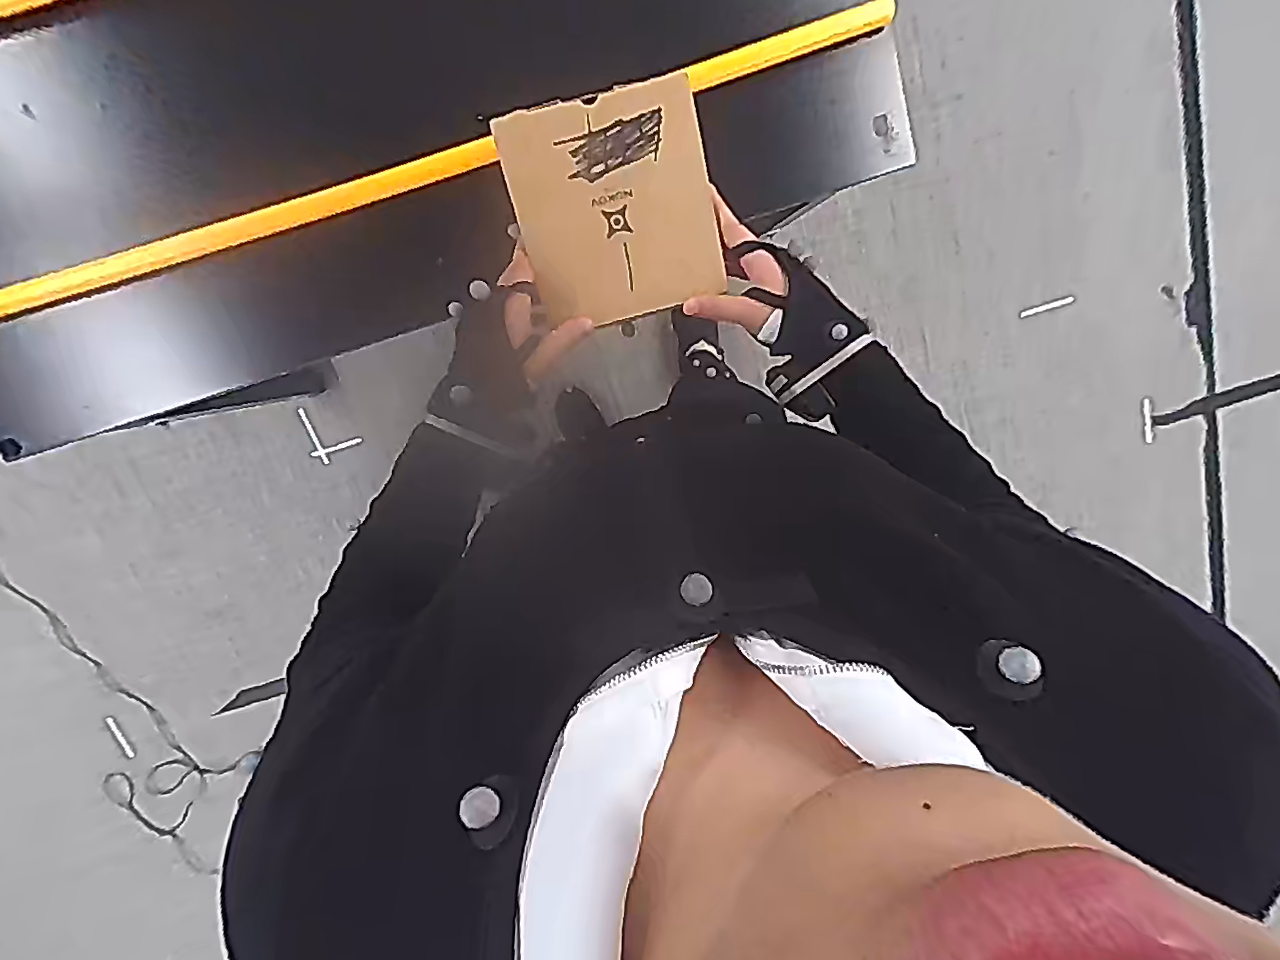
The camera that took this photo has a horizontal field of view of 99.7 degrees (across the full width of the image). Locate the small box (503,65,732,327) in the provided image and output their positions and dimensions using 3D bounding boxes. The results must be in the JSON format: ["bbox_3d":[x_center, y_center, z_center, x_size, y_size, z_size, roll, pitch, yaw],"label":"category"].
[{"bbox_3d":[-0.022,-0.256,0.533,0.168,0.176,0.179,-14,106,-1],"label":"small box"}]
